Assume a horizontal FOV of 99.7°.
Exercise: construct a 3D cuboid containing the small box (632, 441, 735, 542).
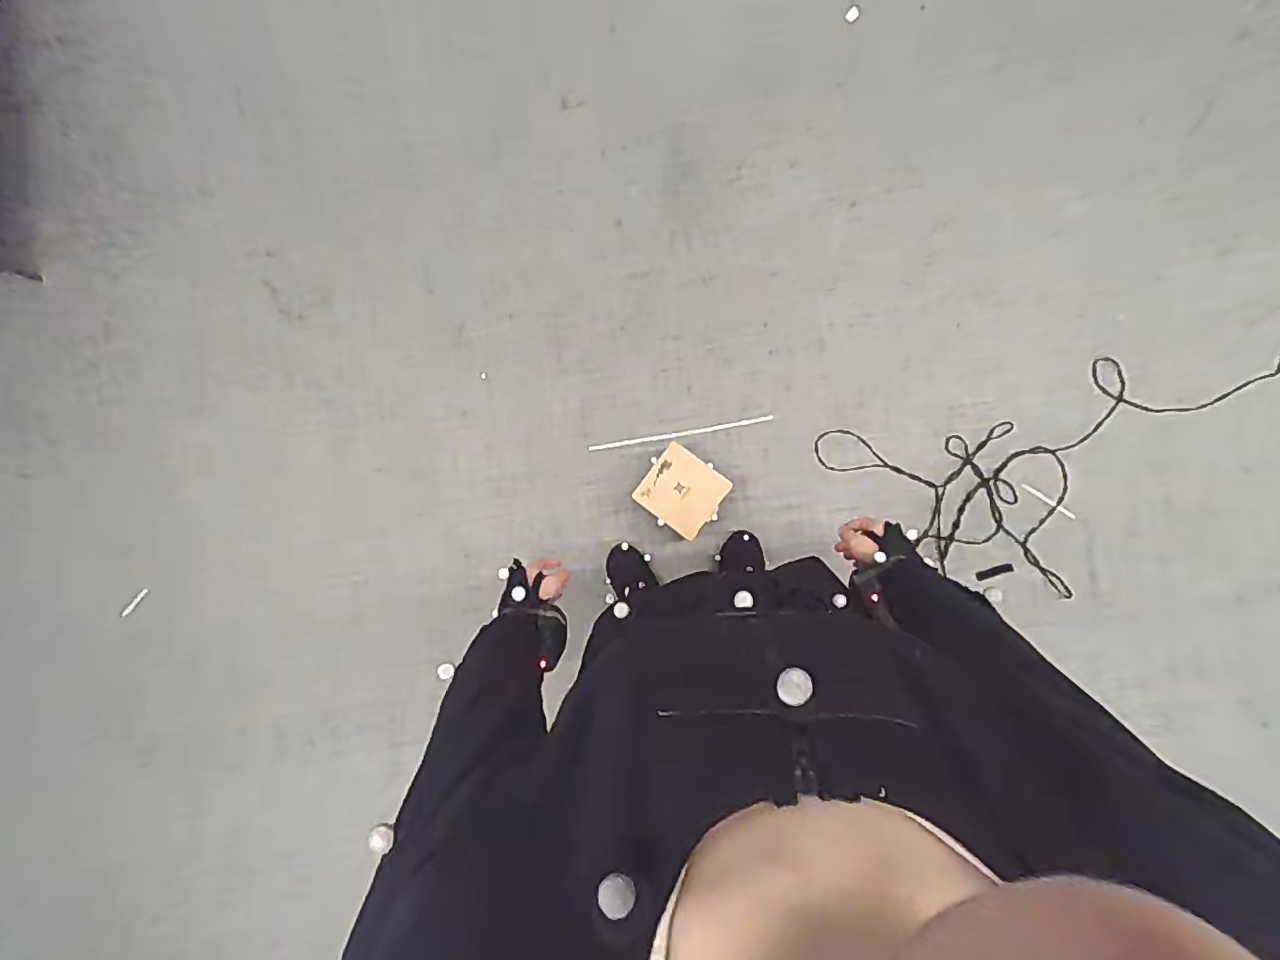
[{"bbox_3d":[0.104,0.028,1.295,0.179,0.176,0.168,37,90,6],"label":"small box"}]
